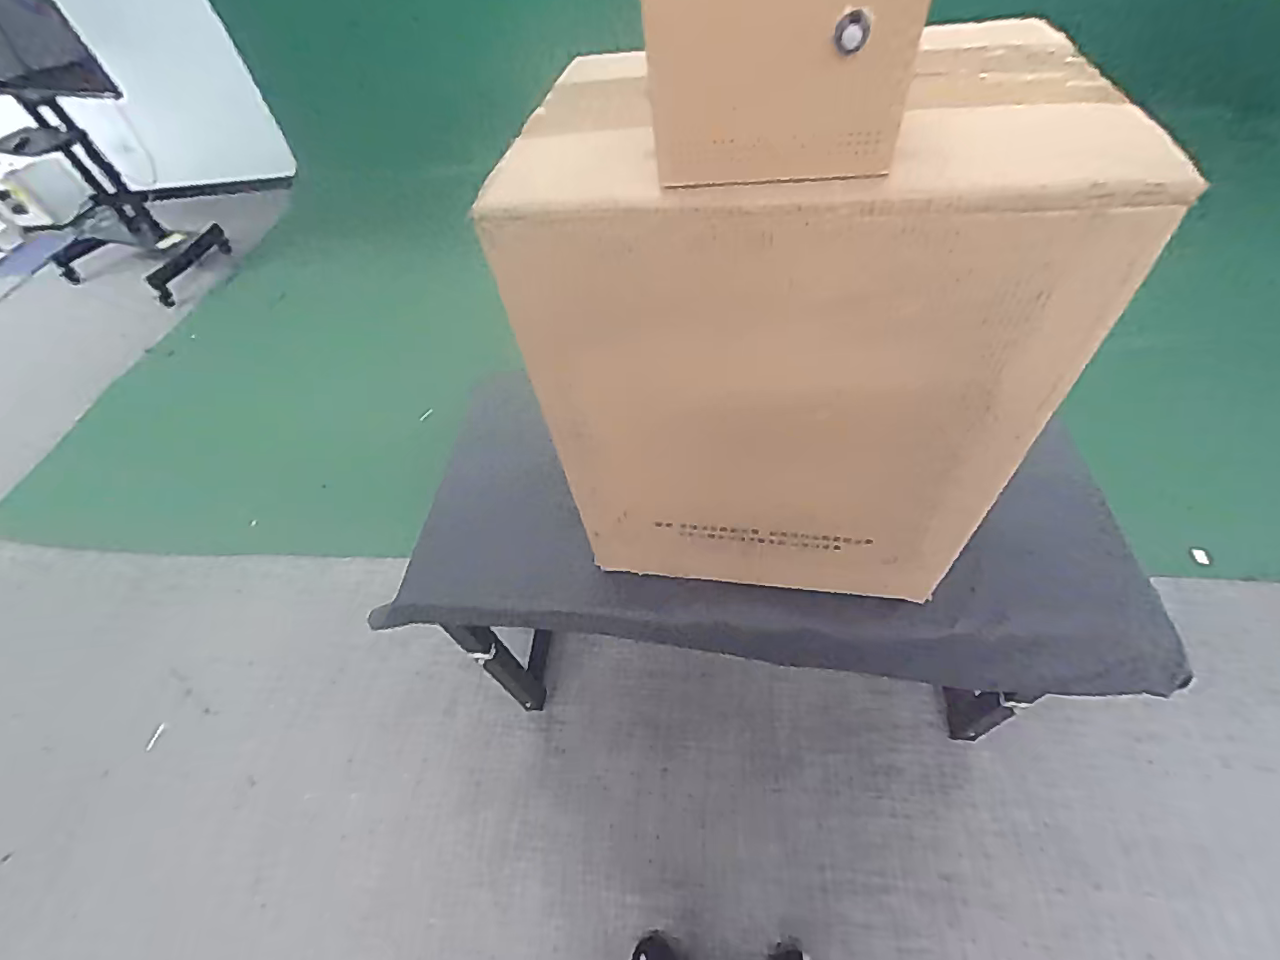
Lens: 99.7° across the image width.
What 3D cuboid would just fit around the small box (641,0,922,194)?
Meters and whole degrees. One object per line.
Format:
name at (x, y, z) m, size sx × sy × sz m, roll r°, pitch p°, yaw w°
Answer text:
small box at (0.103, -0.339, 0.405) m, size 0.179 × 0.176 × 0.168 m, roll 2°, pitch 54°, yaw 12°
